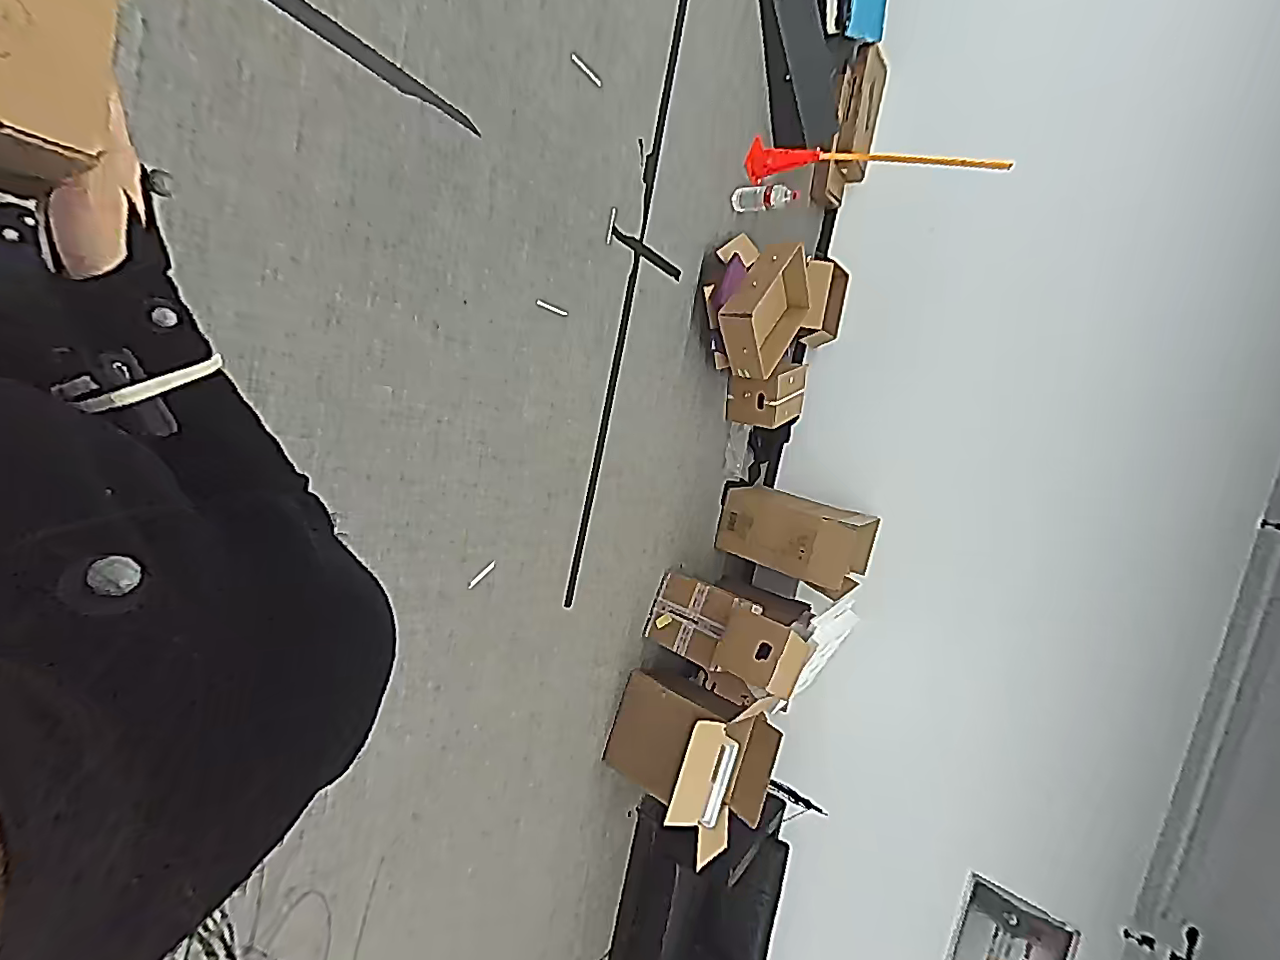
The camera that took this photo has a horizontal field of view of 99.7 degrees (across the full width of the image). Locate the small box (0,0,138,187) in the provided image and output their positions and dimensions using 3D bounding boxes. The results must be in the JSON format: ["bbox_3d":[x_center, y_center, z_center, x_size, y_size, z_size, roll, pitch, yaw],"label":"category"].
[{"bbox_3d":[-0.331,-0.242,0.217,0.168,0.176,0.179,2,101,-57],"label":"small box"}]
